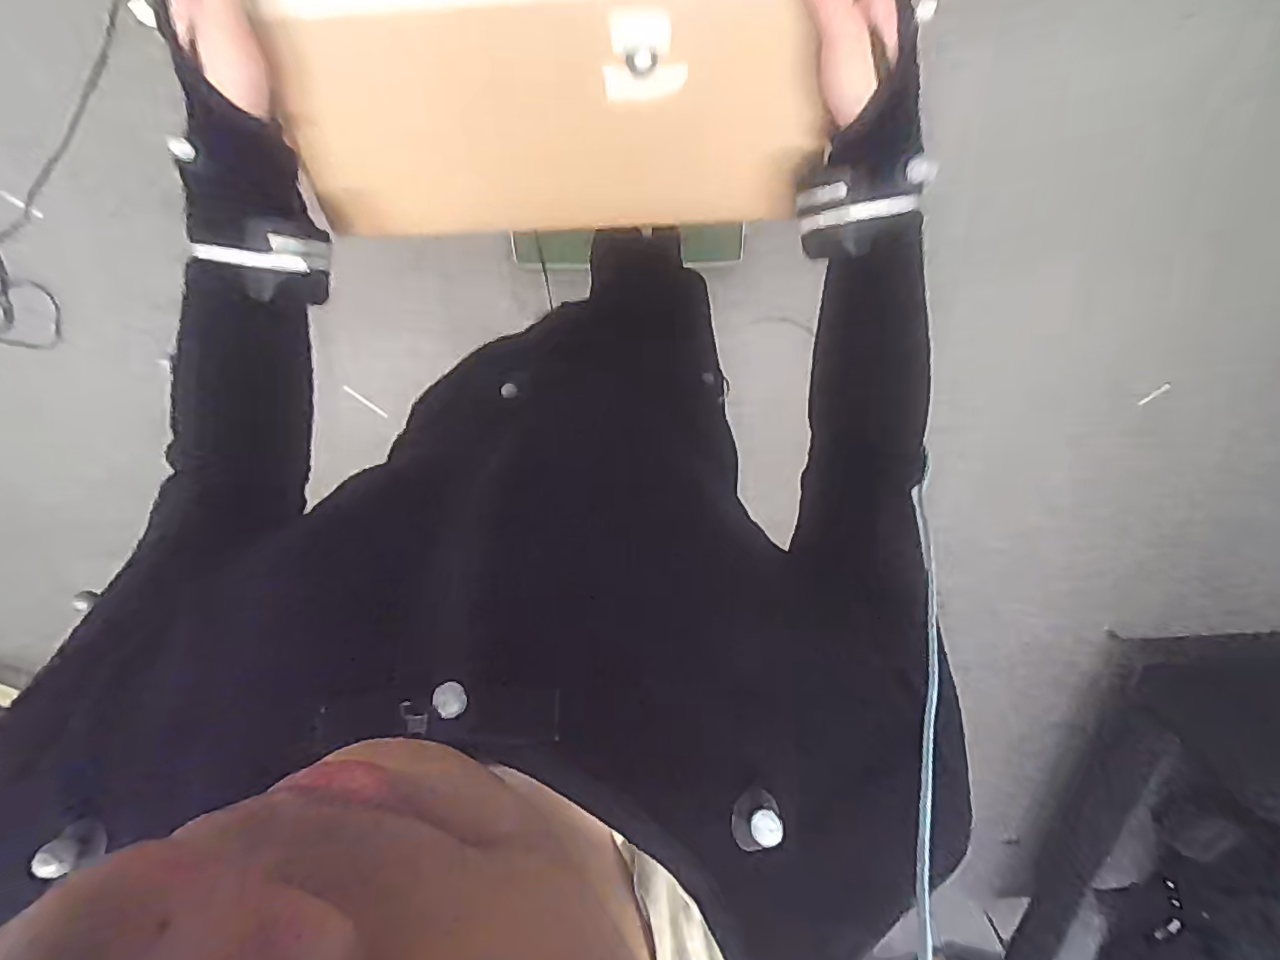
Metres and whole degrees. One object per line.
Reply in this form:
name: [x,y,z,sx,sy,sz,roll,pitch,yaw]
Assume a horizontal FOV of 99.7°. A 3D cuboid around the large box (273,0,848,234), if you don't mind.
large box: [-0.058,-0.437,0.474,0.408,0.320,0.320,-2,133,1]
